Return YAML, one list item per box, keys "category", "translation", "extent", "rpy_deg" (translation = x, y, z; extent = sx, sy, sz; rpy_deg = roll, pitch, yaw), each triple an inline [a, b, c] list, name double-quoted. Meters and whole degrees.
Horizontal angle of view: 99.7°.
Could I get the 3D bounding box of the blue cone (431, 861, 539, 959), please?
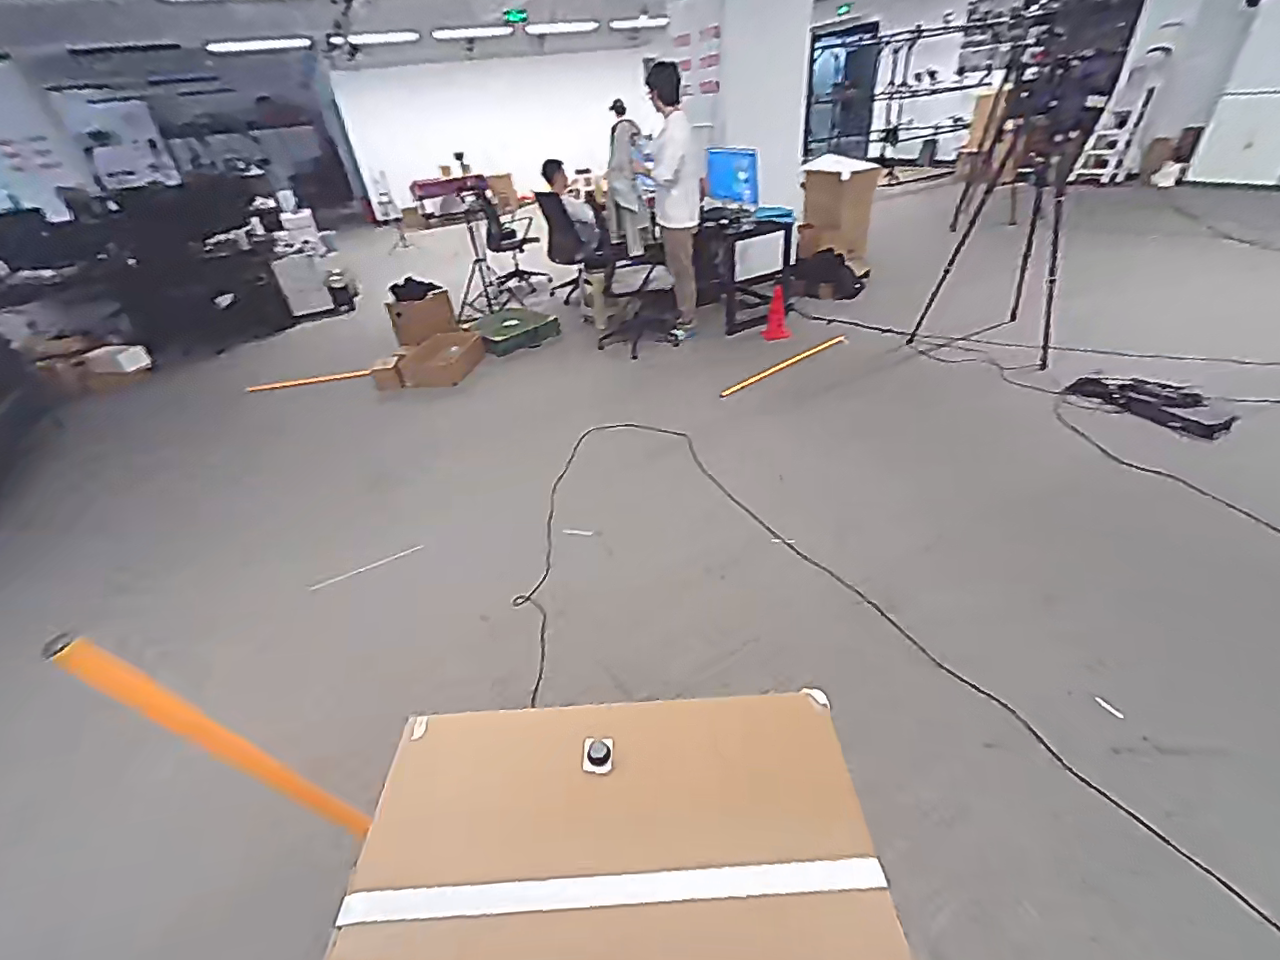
- category: "blue cone"
  translation: [-0.354, 0.899, 1.127]
  extent: [0.193, 0.380, 0.192]
  rpy_deg: [-24, 38, -21]
